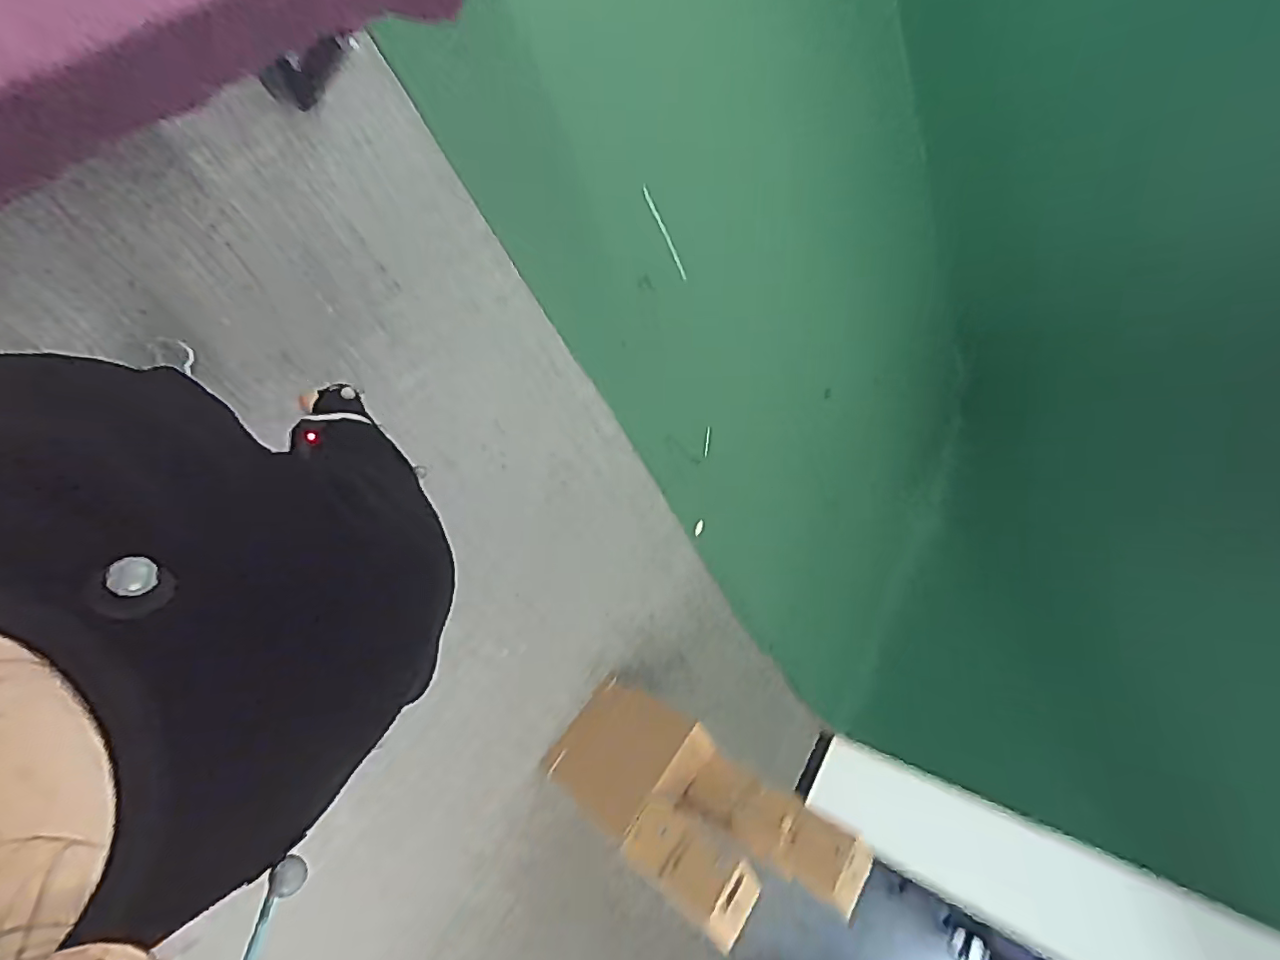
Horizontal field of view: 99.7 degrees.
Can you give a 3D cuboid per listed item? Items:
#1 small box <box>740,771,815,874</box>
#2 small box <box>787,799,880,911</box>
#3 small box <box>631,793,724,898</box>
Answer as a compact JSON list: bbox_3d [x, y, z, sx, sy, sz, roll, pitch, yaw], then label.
[{"bbox_3d":[0.422,1.013,1.620,0.168,0.176,0.179,-39,121,-32],"label":"small box"},{"bbox_3d":[0.538,1.032,1.503,0.168,0.176,0.179,-47,124,-29],"label":"small box"},{"bbox_3d":[0.105,1.043,1.559,0.168,0.176,0.179,-49,124,-26],"label":"small box"}]
